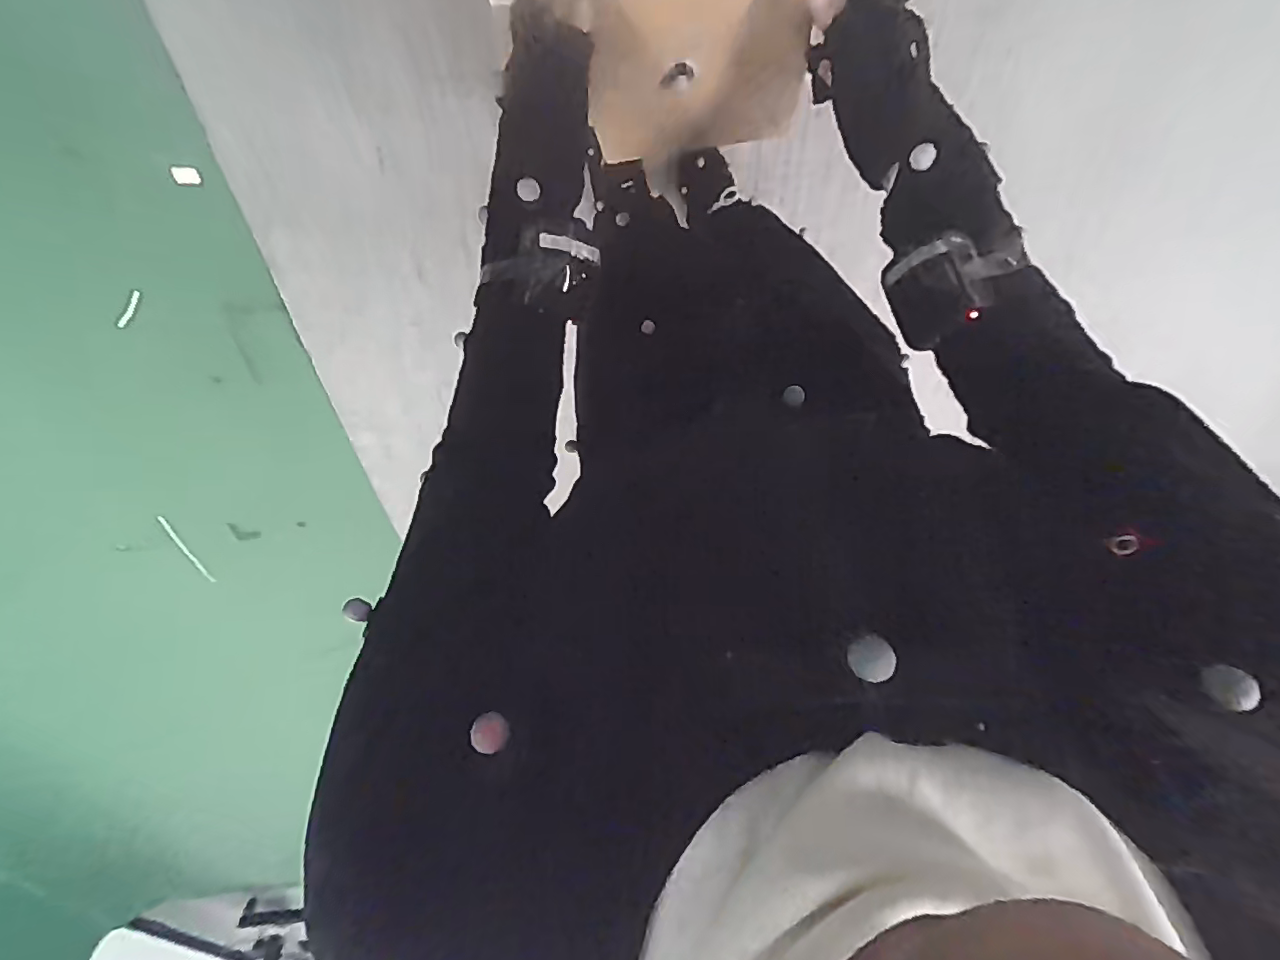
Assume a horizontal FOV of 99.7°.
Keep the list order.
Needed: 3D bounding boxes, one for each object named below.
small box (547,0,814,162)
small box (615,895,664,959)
[{"bbox_3d":[0.034,-0.386,0.423,0.179,0.176,0.168,-4,87,11],"label":"small box"},{"bbox_3d":[-0.003,1.698,2.052,0.168,0.176,0.179,-6,130,0],"label":"small box"}]
